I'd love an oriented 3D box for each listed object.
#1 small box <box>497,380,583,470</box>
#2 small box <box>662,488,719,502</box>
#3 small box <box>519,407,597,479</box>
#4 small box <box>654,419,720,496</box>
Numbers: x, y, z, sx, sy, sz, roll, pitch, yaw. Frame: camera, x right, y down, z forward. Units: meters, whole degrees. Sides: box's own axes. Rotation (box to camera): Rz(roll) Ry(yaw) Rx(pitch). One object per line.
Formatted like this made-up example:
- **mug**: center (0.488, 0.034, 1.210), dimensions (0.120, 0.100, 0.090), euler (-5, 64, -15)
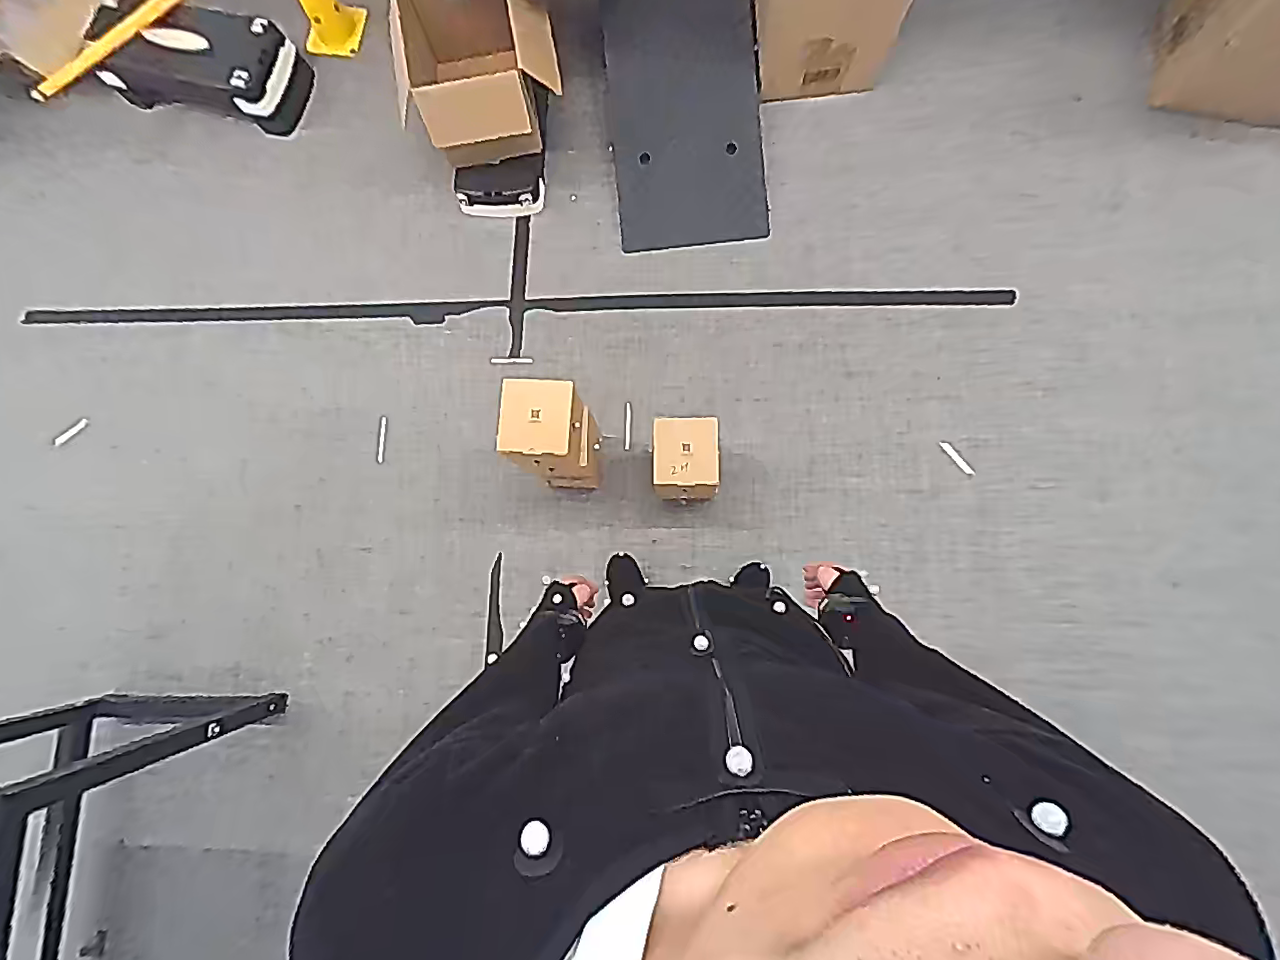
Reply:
- **small box**: center (-0.233, -0.128, 1.302), dimensions (0.168, 0.176, 0.179), euler (3, 82, 3)
- **small box**: center (0.143, -0.029, 1.602), dimensions (0.168, 0.176, 0.179), euler (-1, 82, 4)
- **small box**: center (-0.215, -0.097, 1.461), dimensions (0.179, 0.176, 0.168), euler (1, 81, 2)
- **small box**: center (0.123, -0.056, 1.440), dimensions (0.168, 0.176, 0.179), euler (0, 82, 4)
